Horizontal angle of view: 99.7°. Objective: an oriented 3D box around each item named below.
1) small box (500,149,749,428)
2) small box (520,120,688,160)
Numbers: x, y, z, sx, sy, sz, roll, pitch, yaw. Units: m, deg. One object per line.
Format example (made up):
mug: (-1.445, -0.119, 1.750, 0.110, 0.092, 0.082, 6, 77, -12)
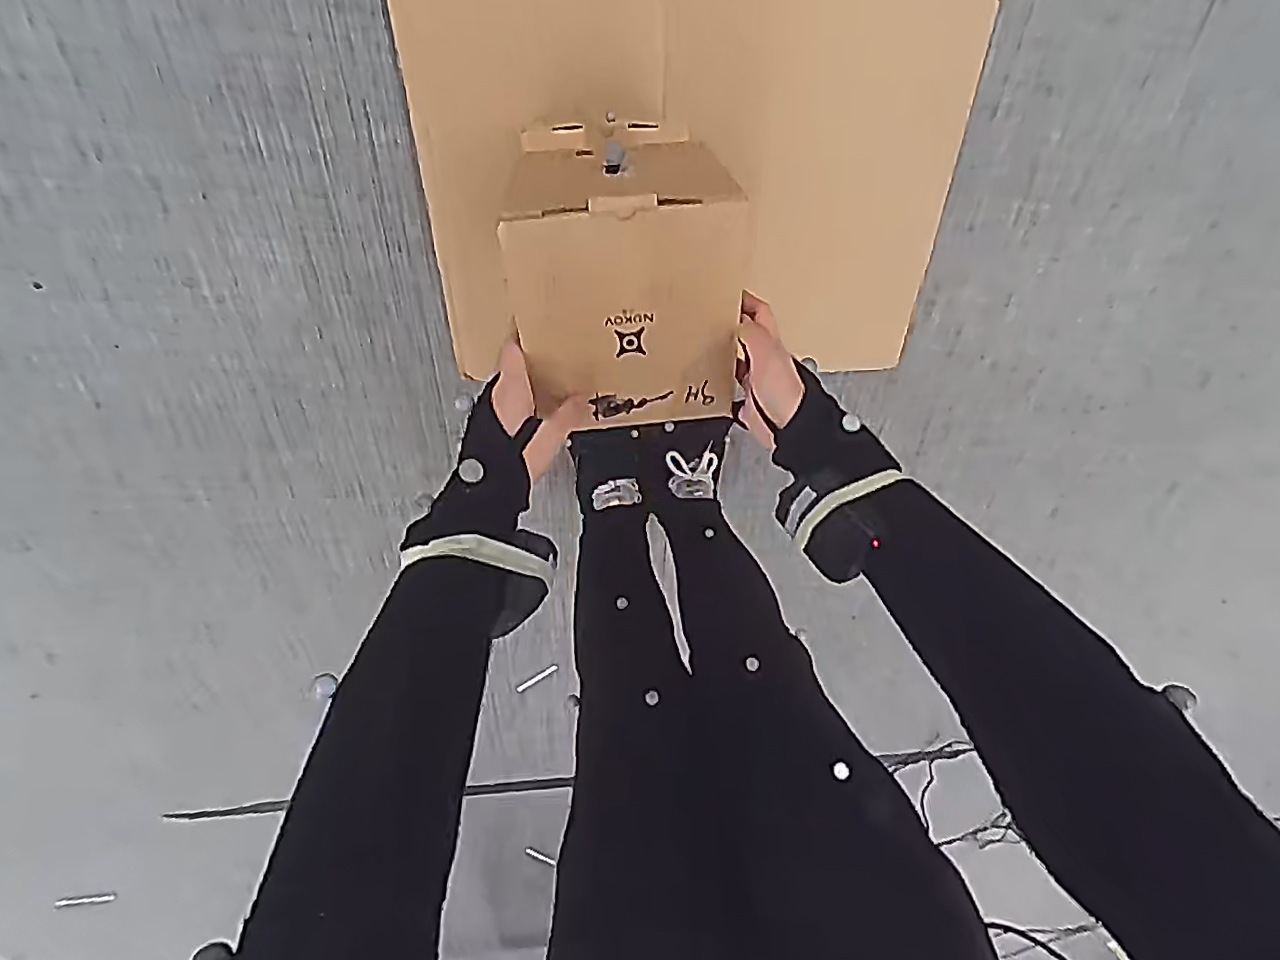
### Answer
small box: (-0.015, -0.168, 0.459, 0.168, 0.176, 0.179, -5, 132, -2)
small box: (-0.040, -0.314, 0.633, 0.168, 0.176, 0.179, -5, 124, -4)
